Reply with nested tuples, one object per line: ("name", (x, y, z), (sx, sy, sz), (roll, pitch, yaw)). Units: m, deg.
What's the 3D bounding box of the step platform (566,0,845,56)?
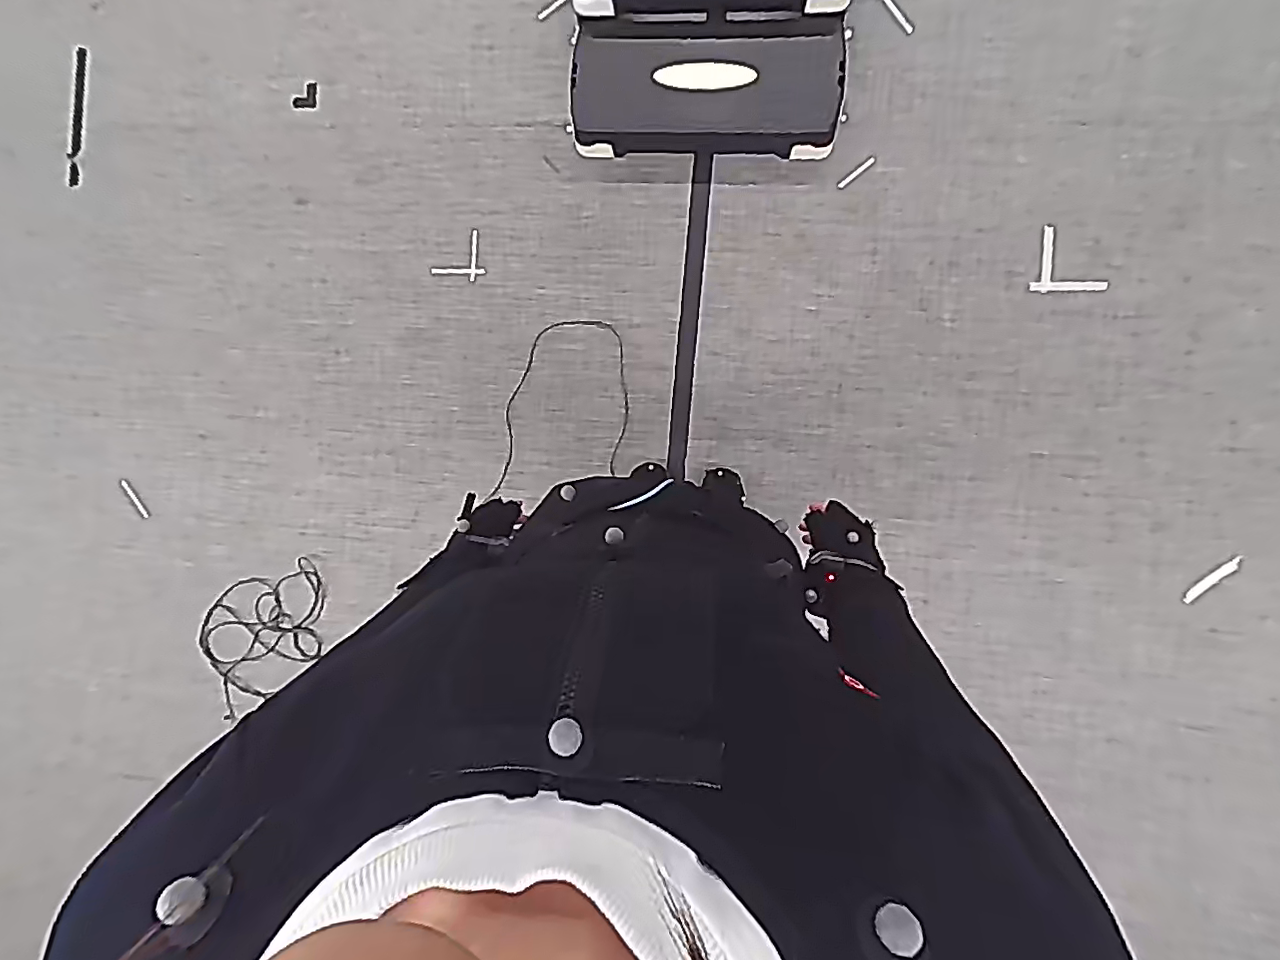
("step platform", (0.157, -1.237, 1.295), (0.684, 0.204, 0.286), (3, 93, 5))
